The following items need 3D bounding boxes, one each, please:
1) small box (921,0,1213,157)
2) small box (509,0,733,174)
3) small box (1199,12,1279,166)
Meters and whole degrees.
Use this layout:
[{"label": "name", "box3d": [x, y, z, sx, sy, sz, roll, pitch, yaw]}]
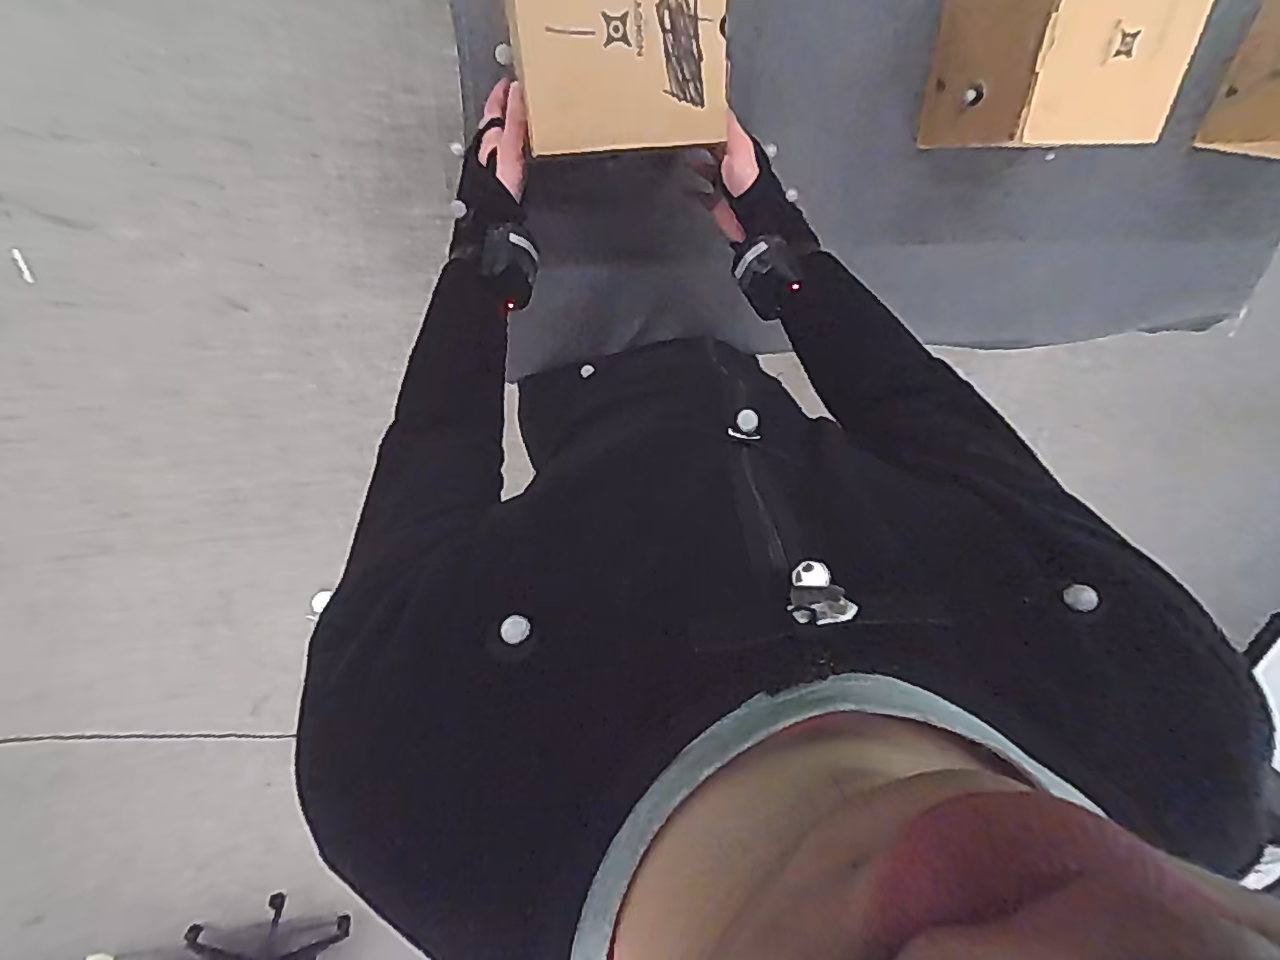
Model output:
[{"label": "small box", "box3d": [0.449, -0.452, 0.593, 0.179, 0.176, 0.168, -8, 122, -11]}, {"label": "small box", "box3d": [-0.024, -0.389, 0.510, 0.179, 0.176, 0.168, -9, 119, -8]}, {"label": "small box", "box3d": [0.878, -0.490, 0.669, 0.179, 0.176, 0.168, -1, 120, -12]}]
